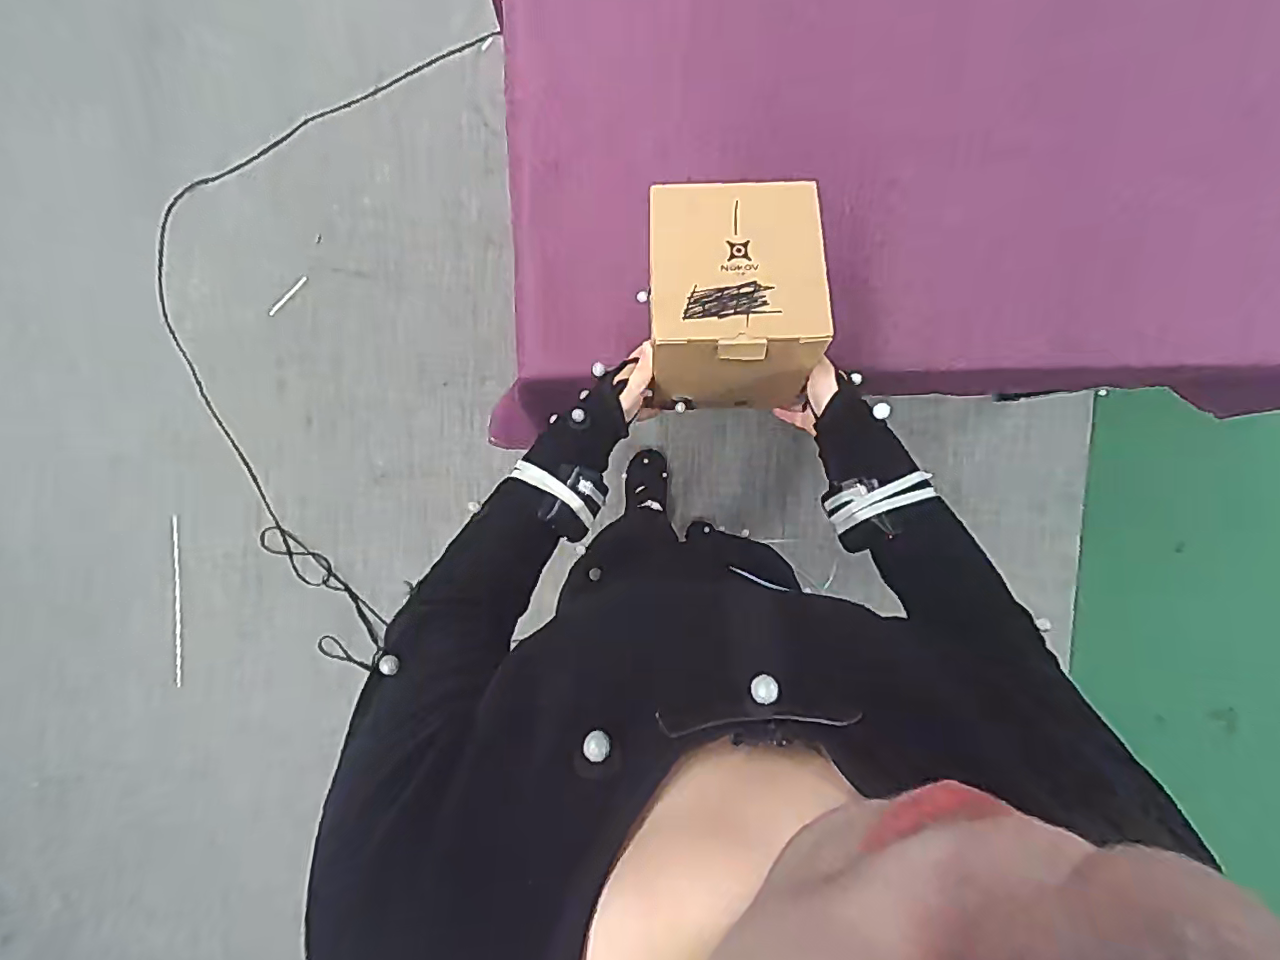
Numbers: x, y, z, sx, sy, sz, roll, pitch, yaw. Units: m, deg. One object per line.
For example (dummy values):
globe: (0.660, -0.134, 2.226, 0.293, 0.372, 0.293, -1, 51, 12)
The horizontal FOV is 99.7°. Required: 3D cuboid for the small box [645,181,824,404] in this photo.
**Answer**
small box: (0.090, -0.191, 0.592, 0.168, 0.176, 0.179, 0, 74, 1)
